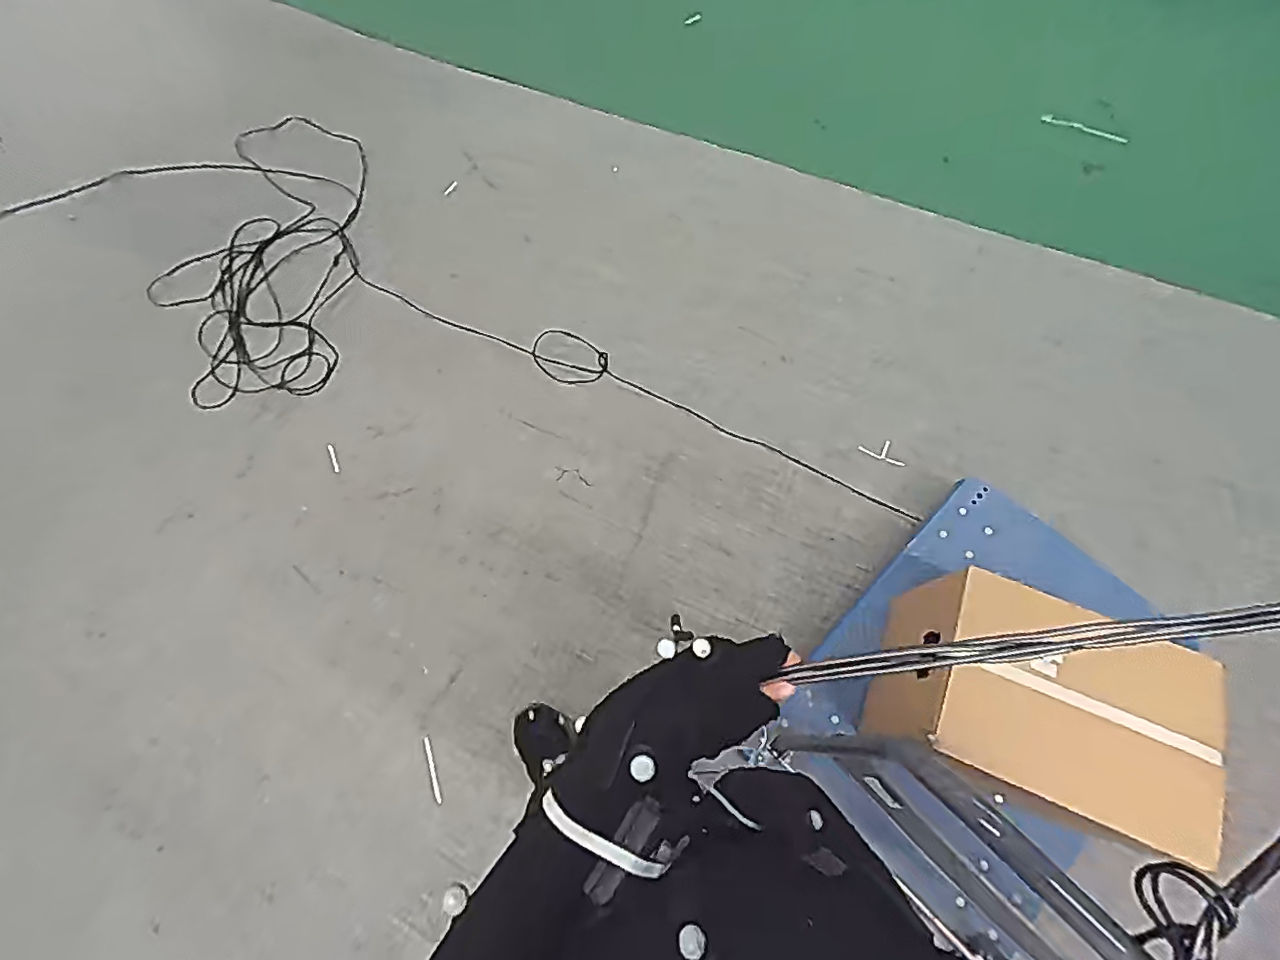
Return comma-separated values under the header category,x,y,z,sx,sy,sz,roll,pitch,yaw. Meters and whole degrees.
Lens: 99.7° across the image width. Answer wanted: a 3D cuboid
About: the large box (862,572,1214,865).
category,x,y,z,sx,sy,sz,roll,pitch,yaw
large box,0.693,0.412,0.995,0.408,0.320,0.320,22,69,10
